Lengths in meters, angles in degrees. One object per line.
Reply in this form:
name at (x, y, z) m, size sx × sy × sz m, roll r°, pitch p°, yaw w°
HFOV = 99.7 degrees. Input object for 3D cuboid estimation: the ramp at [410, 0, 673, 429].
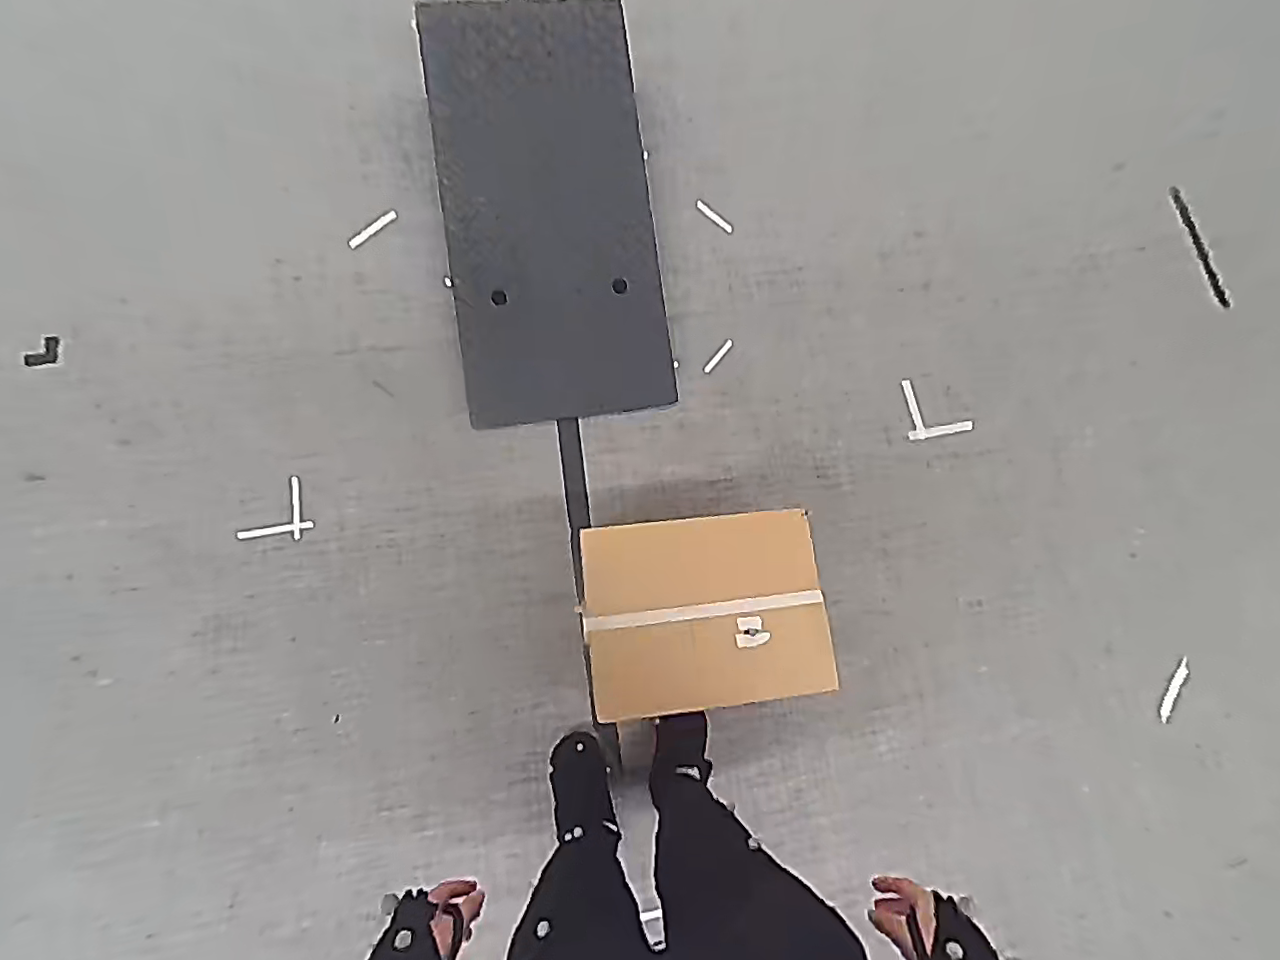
ramp at (-0.224, -0.640, 1.280) m, size 0.509 × 0.206 × 0.991 m, roll -9°, pitch 80°, yaw -9°

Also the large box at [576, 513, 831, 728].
large box at (0.092, 0.261, 1.056) m, size 0.408 × 0.320 × 0.320 m, roll -5°, pitch 78°, yaw -8°
